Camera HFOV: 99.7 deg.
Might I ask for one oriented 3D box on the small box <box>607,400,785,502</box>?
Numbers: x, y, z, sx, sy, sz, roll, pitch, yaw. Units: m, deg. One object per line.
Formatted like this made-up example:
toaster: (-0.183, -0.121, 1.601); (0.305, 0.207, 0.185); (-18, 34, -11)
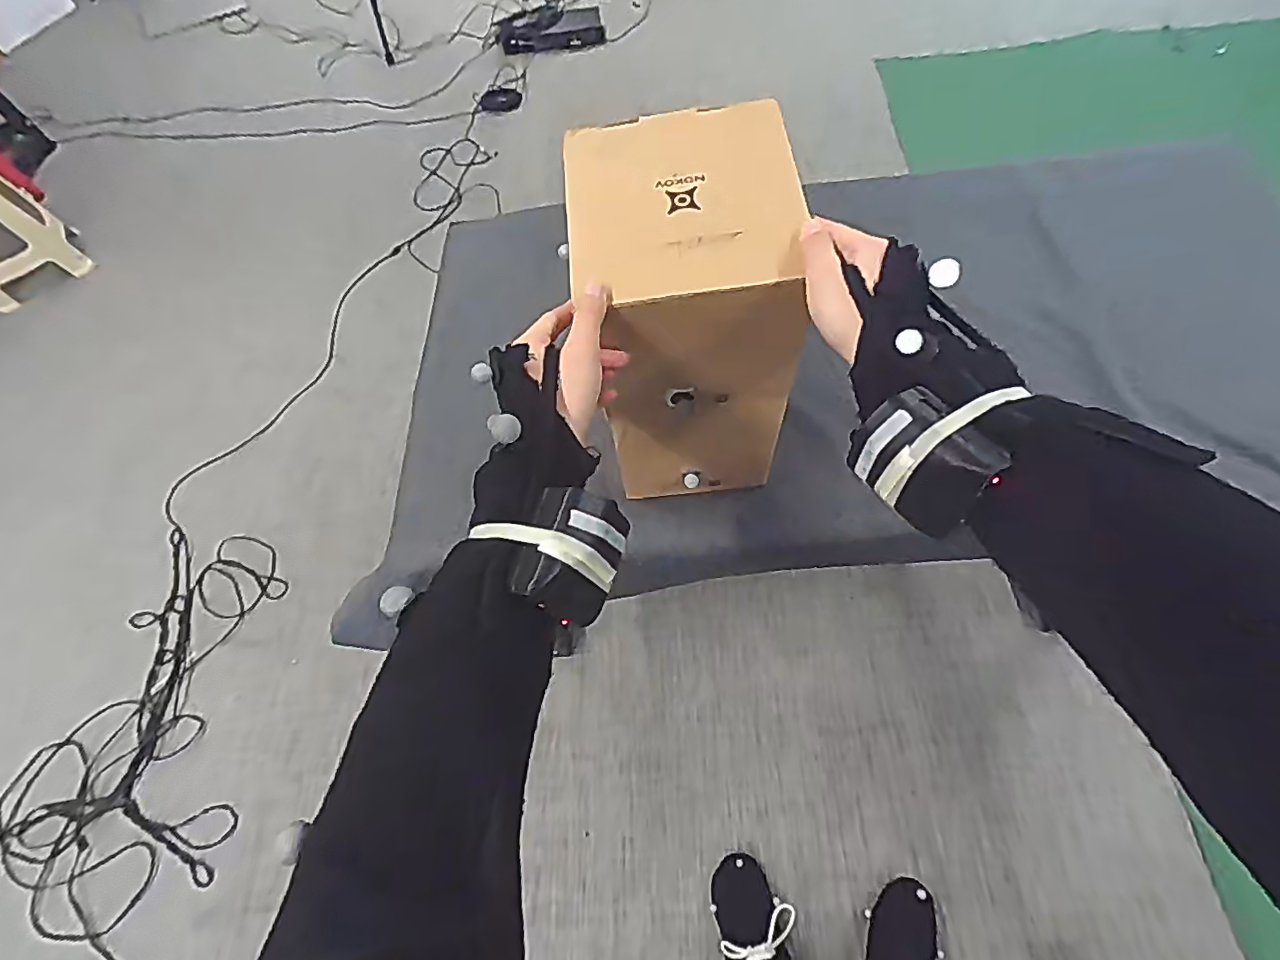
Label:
small box: (0.052, -0.094, 0.602); (0.168, 0.176, 0.179); (-6, 62, 3)

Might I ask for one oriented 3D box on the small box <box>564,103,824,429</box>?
small box: (0.036, -0.164, 0.450); (0.168, 0.176, 0.179); (-8, 68, 3)
